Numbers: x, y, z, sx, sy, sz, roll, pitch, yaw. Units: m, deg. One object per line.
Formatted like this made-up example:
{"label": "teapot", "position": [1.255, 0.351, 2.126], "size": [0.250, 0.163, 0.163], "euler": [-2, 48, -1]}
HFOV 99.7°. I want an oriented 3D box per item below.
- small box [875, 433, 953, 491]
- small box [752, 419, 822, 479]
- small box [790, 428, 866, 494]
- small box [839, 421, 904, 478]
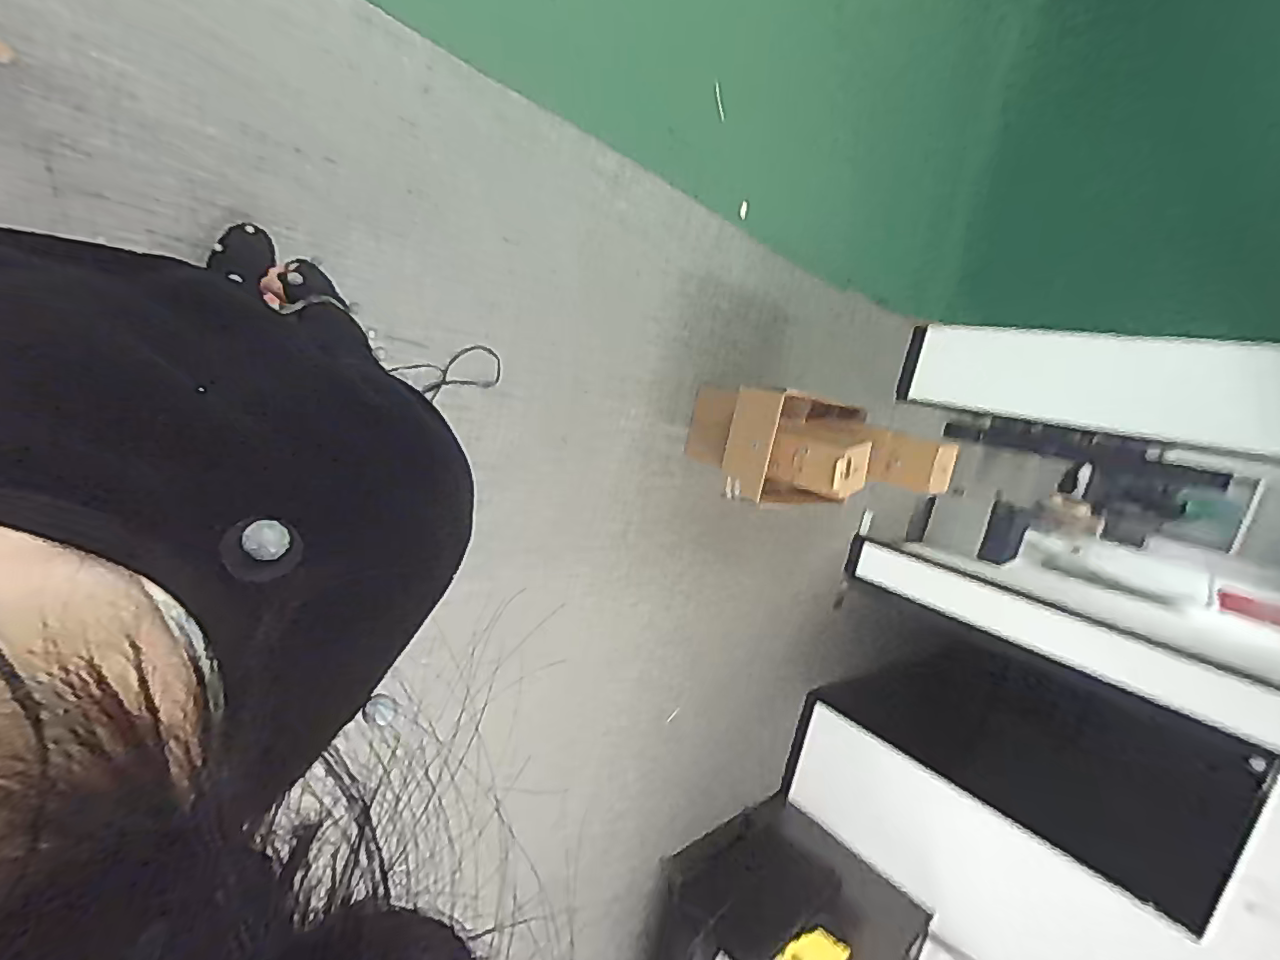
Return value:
{"label": "small box", "position": [0.945, -0.065, 1.872], "size": [0.179, 0.176, 0.168], "euler": [-2, 105, -42]}
{"label": "small box", "position": [0.521, -0.114, 1.927], "size": [0.179, 0.176, 0.168], "euler": [-15, 116, -39]}
{"label": "small box", "position": [0.625, -0.068, 1.810], "size": [0.179, 0.176, 0.168], "euler": [-16, 117, -39]}
{"label": "small box", "position": [0.831, -0.114, 1.981], "size": [0.168, 0.176, 0.179], "euler": [-4, 107, -41]}
